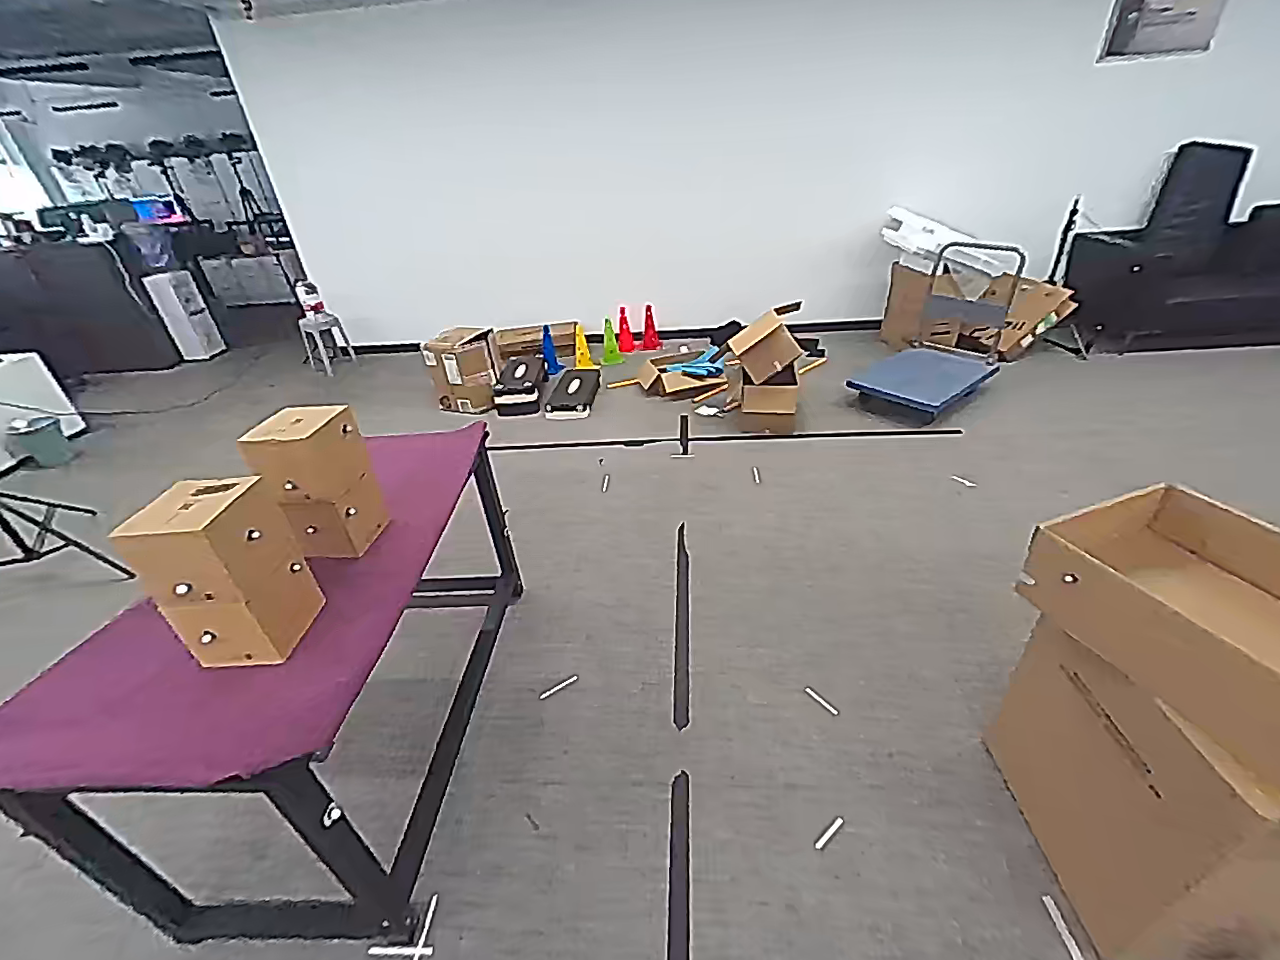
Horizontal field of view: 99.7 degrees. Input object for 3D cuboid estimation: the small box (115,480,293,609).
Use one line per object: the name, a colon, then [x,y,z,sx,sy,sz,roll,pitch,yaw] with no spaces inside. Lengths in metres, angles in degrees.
small box: [-0.787,0.118,1.006,0.168,0.176,0.179,-4,32,2]

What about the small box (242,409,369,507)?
small box: [-0.769,-0.054,1.272,0.168,0.176,0.179,-2,32,7]

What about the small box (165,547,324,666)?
small box: [-0.779,0.258,1.092,0.168,0.176,0.179,-4,31,2]
